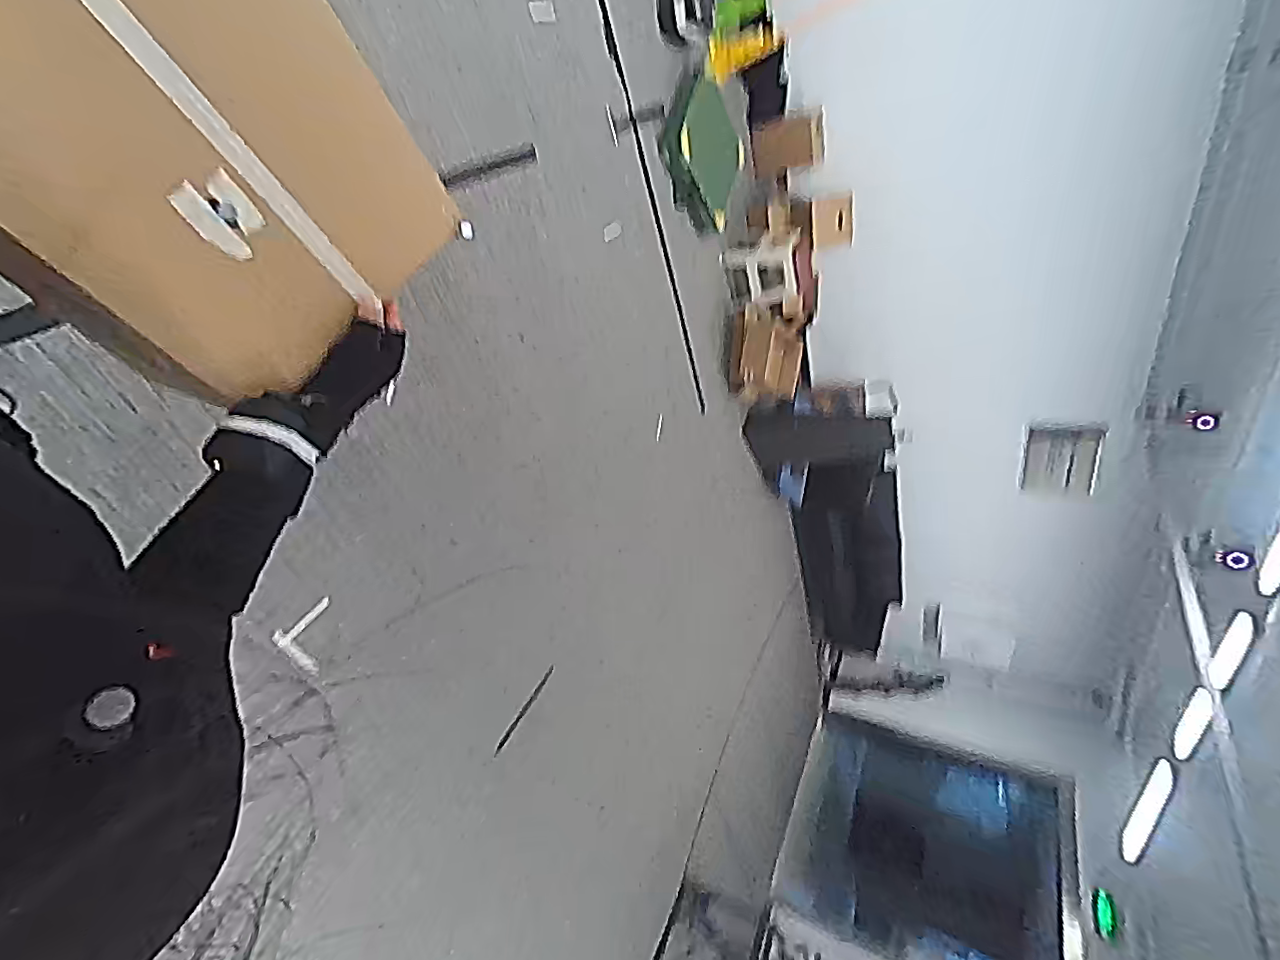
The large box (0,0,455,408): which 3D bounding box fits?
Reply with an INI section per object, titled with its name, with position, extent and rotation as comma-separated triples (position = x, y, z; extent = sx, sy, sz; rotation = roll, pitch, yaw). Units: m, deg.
[large box]
position = -0.474, -0.329, 0.501
extent = 0.320, 0.320, 0.408
rotation = -58, 144, -22
